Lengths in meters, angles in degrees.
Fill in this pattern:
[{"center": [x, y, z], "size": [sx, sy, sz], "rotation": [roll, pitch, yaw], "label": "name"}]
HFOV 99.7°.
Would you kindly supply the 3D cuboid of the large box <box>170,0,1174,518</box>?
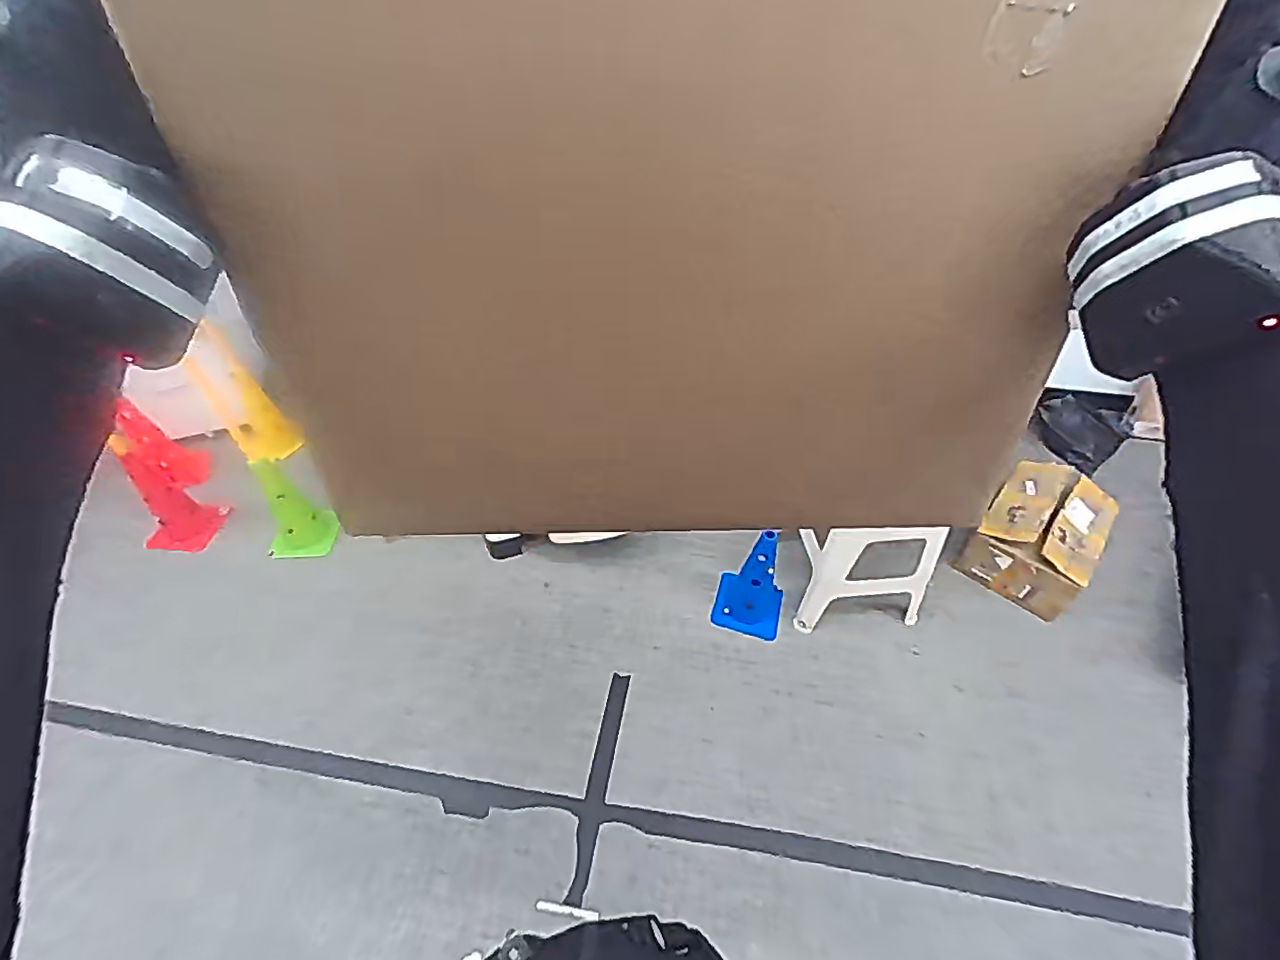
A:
[{"center": [0.011, -0.186, 0.388], "size": [0.408, 0.320, 0.320], "rotation": [-1, 36, -1], "label": "large box"}]
